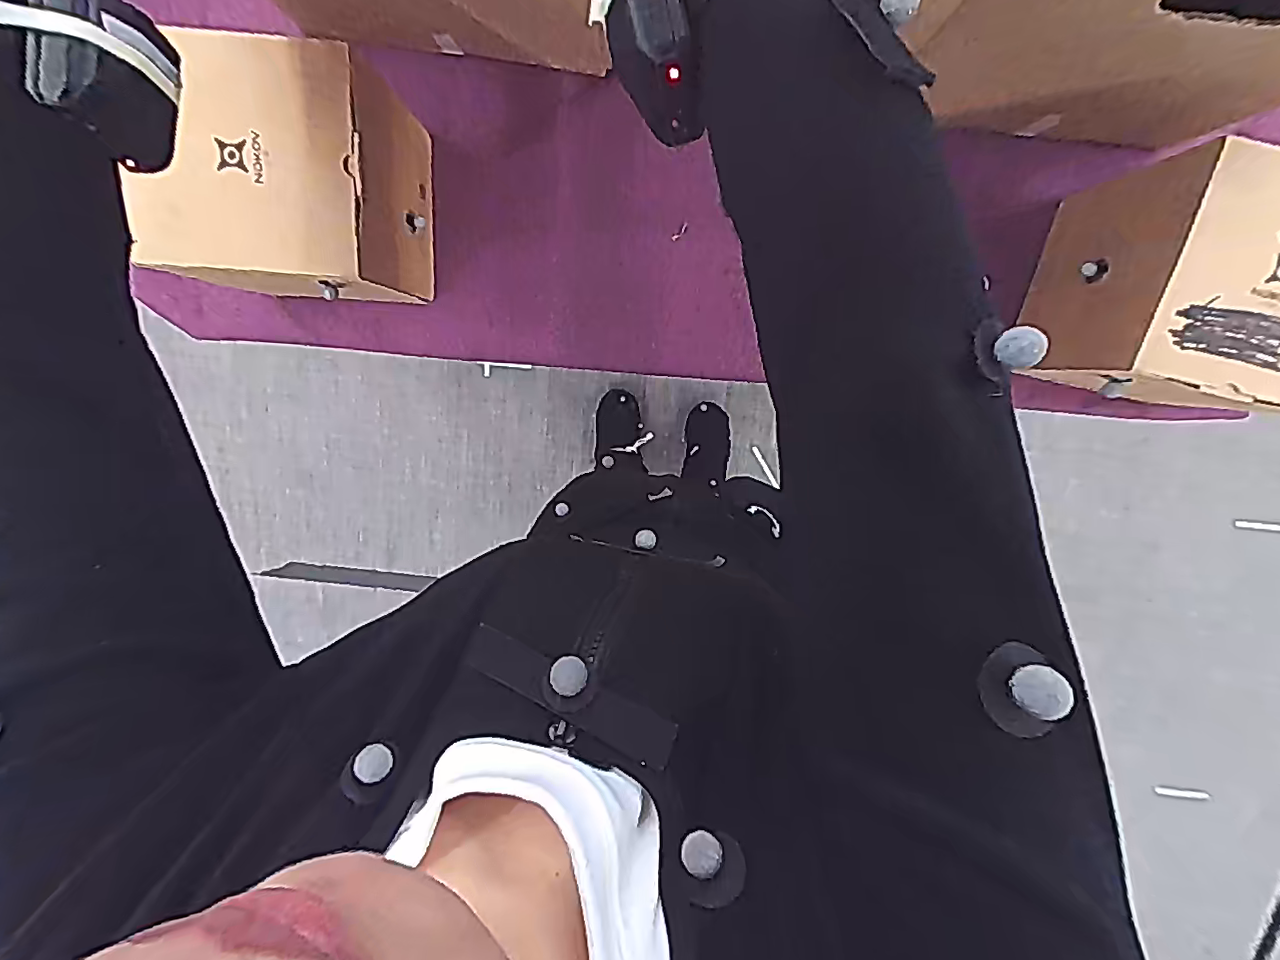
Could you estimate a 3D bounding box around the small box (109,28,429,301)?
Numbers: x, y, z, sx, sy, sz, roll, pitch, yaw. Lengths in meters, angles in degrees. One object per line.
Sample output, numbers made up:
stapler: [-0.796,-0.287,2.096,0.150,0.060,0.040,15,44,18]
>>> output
small box: [-0.309,-0.261,0.491,0.179,0.176,0.168,2,102,-4]

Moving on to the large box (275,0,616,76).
large box: [-0.159,-0.577,0.351,0.320,0.320,0.408,7,105,0]
